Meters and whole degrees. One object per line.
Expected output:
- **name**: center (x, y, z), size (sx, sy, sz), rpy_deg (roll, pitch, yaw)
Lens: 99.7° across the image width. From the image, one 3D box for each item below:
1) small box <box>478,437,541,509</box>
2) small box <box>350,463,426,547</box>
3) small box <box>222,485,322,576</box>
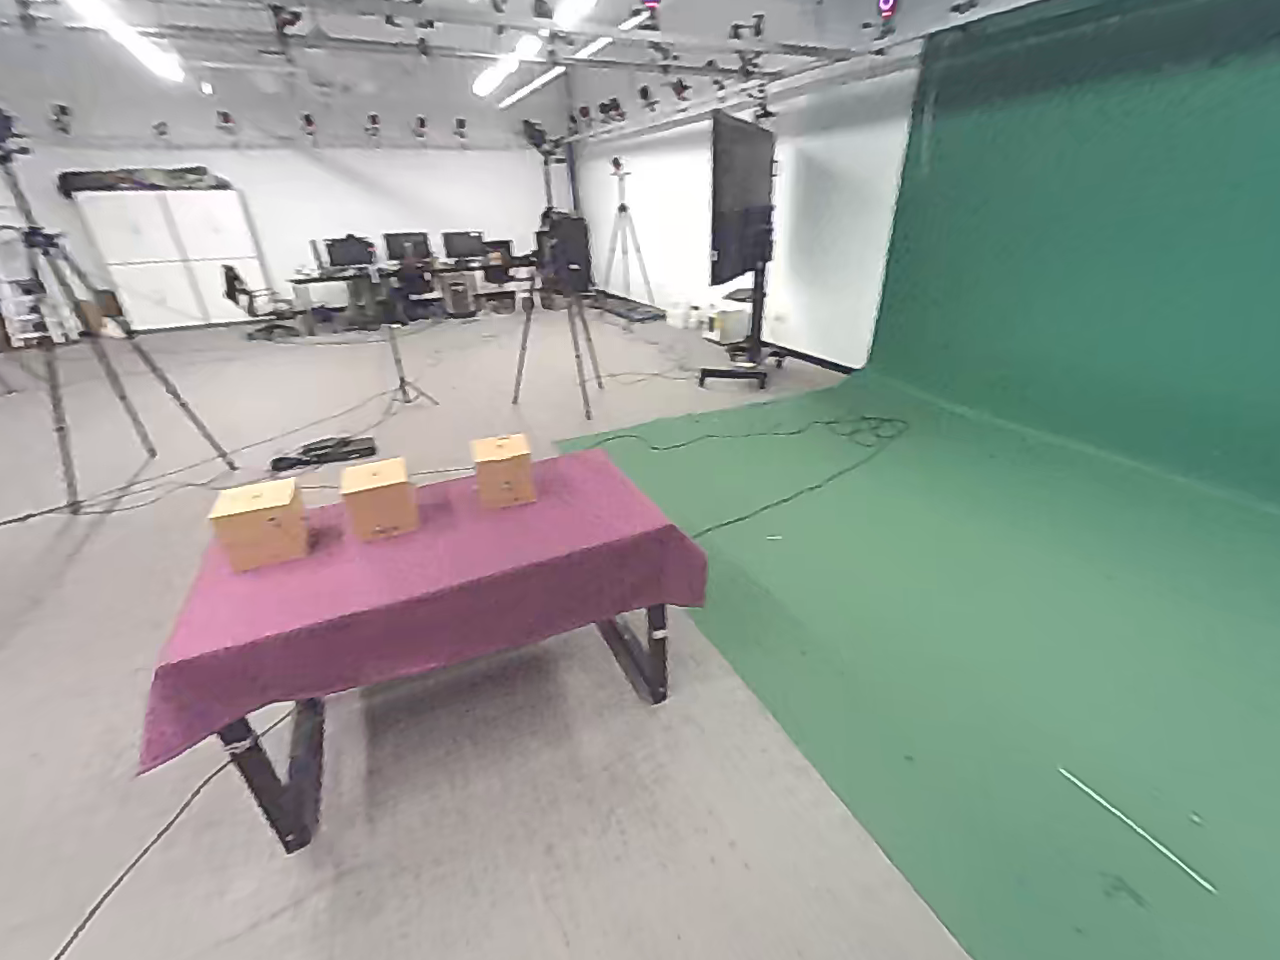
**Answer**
- **small box**: center (-0.413, -0.017, 1.716), size (0.168, 0.176, 0.179), rpy_deg (-10, 29, -15)
- **small box**: center (-0.732, 0.071, 1.581), size (0.168, 0.176, 0.179), rpy_deg (-14, 30, -19)
- **small box**: center (-0.991, 0.136, 1.475), size (0.179, 0.176, 0.168), rpy_deg (-13, 28, -19)
